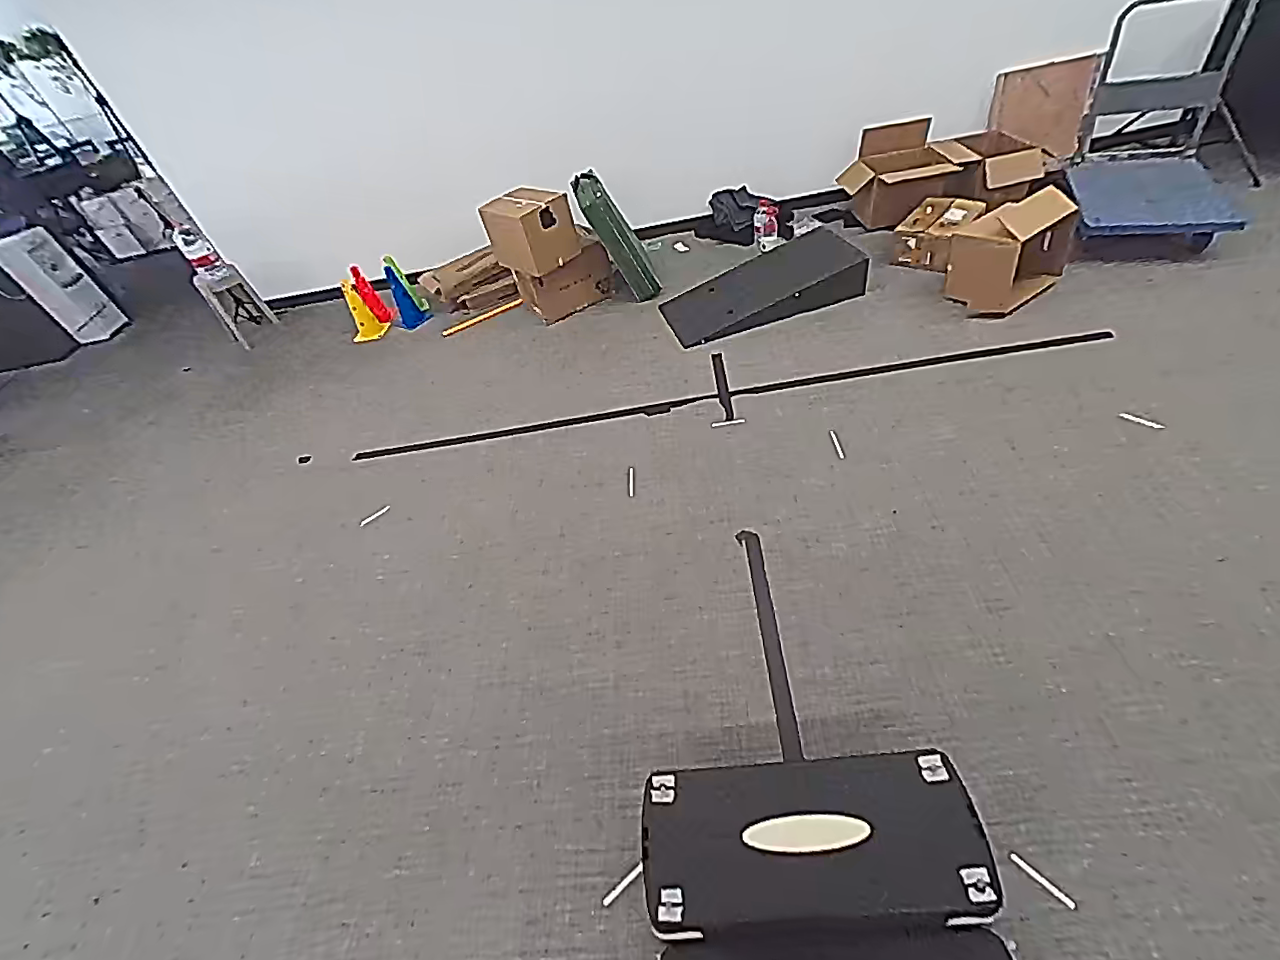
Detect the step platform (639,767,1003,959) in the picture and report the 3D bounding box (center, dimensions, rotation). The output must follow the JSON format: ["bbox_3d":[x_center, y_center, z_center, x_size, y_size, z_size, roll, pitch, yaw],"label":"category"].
[{"bbox_3d":[0.337,0.795,1.119,0.684,0.204,0.286,-8,45,5],"label":"step platform"}]
